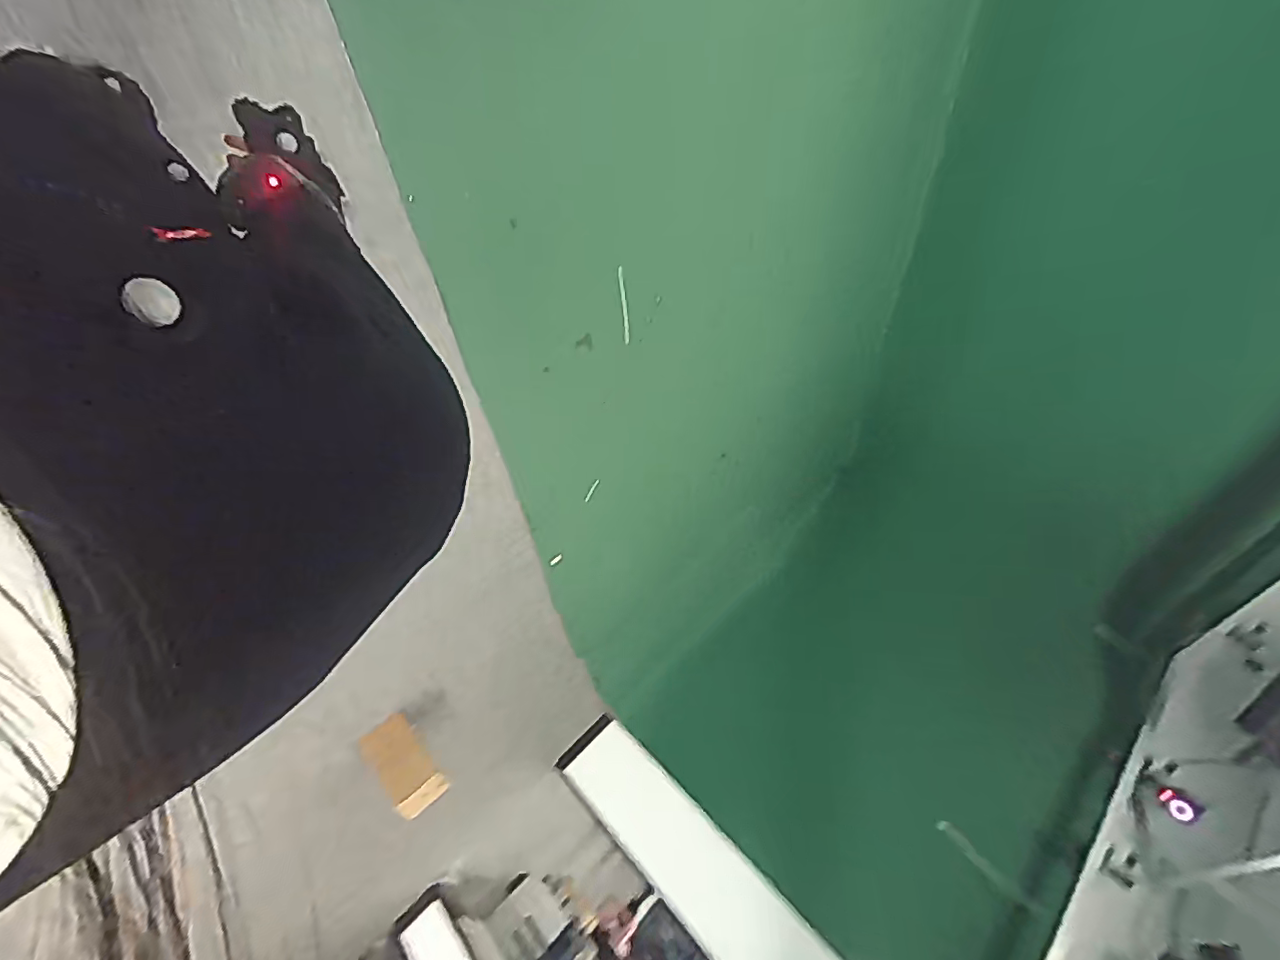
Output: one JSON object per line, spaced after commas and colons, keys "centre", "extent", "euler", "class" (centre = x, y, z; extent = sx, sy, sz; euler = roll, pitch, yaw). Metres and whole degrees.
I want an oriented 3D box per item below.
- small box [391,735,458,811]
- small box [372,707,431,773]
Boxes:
{"centre": [-0.861, 1.159, 2.144], "extent": [0.179, 0.176, 0.168], "euler": [-36, 142, -28], "class": "small box"}
{"centre": [-0.977, 1.082, 2.229], "extent": [0.179, 0.176, 0.168], "euler": [-38, 143, -24], "class": "small box"}
